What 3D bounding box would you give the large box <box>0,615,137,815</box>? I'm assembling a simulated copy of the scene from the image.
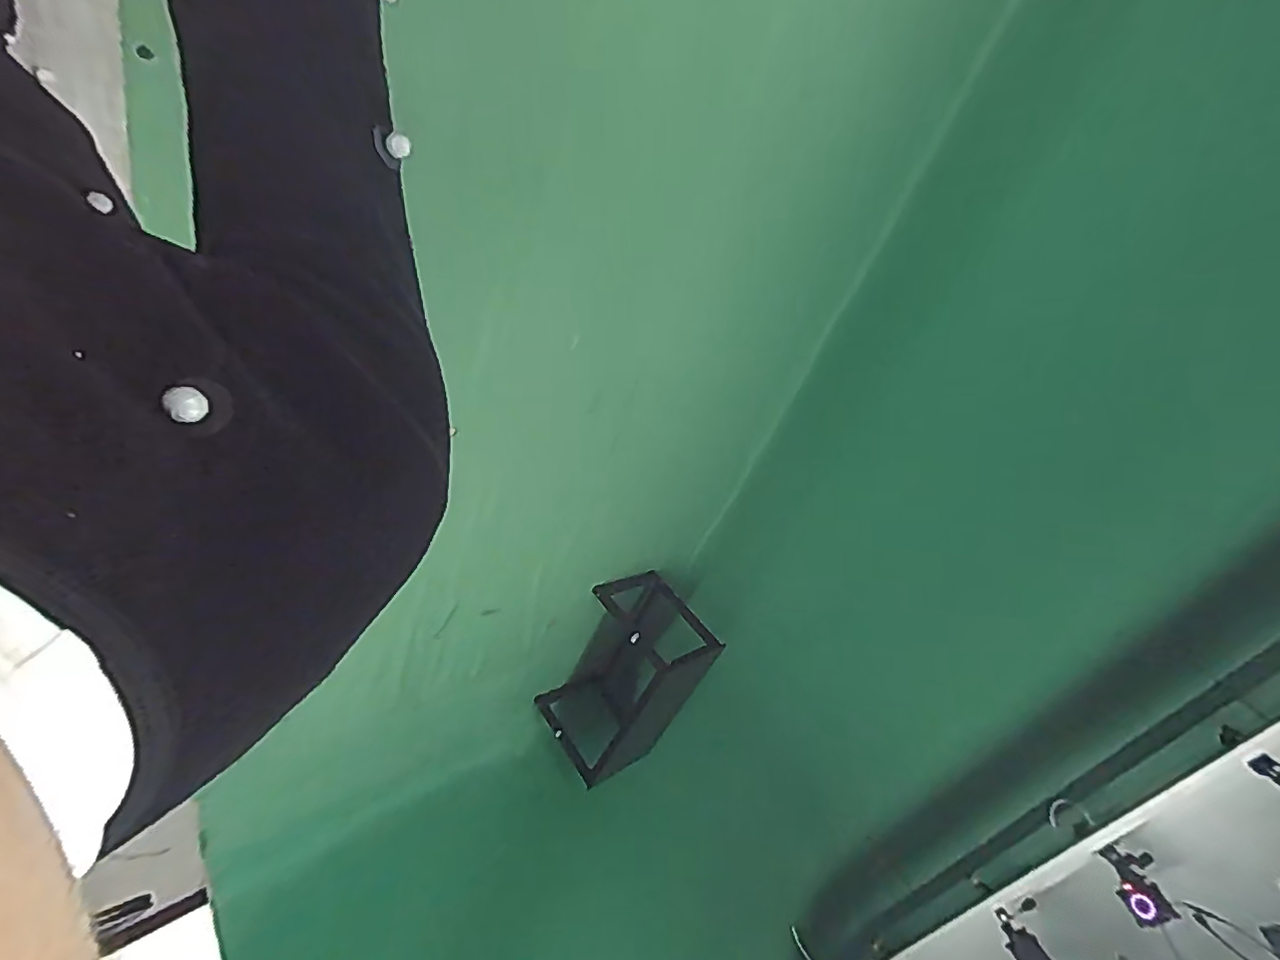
[{"bbox_3d":[-1.746,0.657,1.496,0.408,0.320,0.320,-34,148,-19],"label":"large box"}]
